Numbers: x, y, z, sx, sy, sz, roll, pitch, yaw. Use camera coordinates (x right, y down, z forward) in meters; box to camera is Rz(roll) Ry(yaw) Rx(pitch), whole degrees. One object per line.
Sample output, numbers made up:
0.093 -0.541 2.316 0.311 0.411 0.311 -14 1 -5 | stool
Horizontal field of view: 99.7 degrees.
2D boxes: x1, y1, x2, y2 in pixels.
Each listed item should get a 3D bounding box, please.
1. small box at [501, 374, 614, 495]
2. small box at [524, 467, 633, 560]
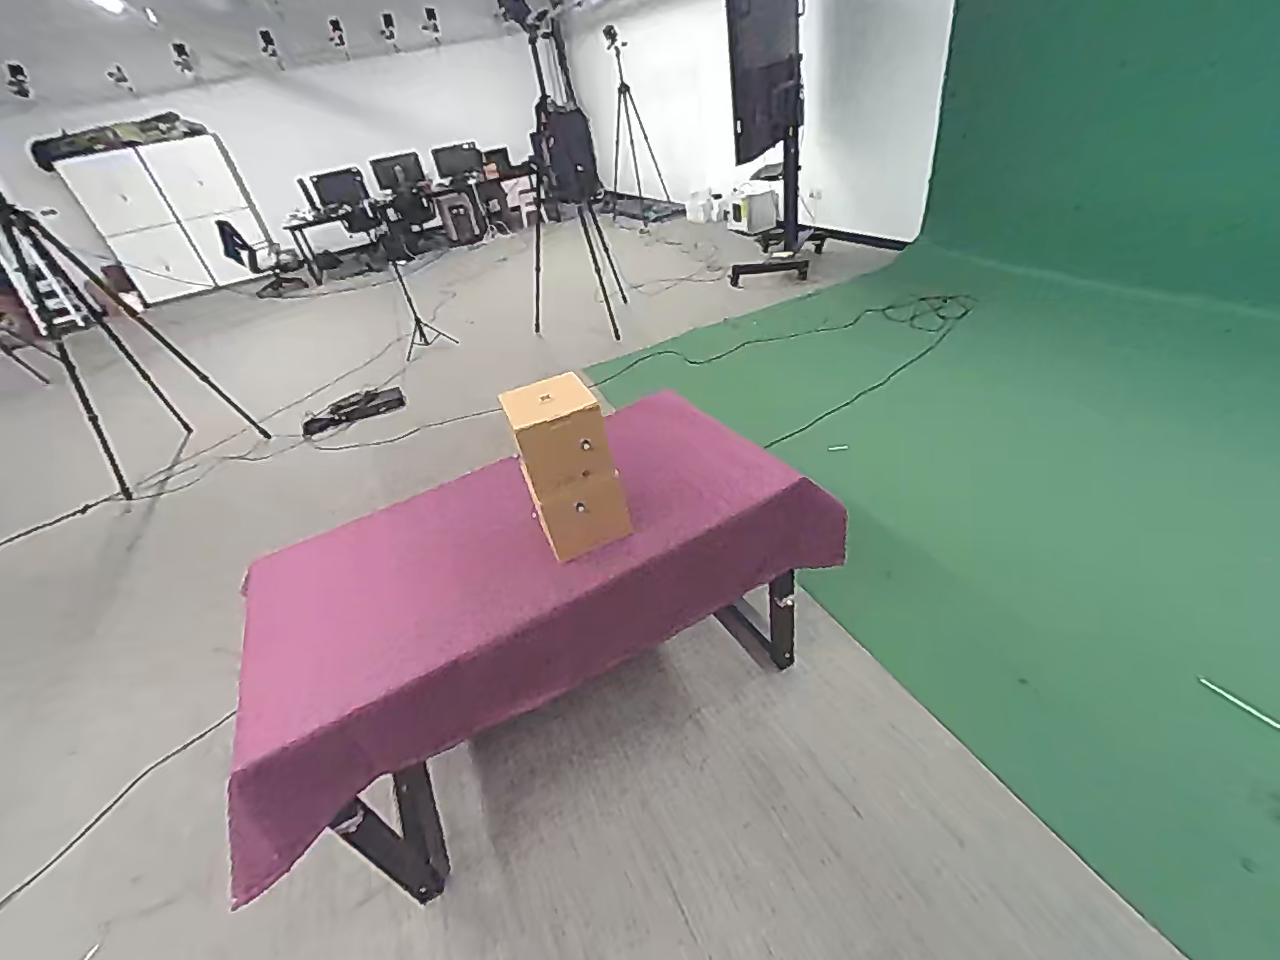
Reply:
-0.165 -0.088 1.097 0.168 0.176 0.179 -21 36 -12 | small box
-0.133 0.046 1.185 0.179 0.176 0.168 -22 37 -13 | small box
